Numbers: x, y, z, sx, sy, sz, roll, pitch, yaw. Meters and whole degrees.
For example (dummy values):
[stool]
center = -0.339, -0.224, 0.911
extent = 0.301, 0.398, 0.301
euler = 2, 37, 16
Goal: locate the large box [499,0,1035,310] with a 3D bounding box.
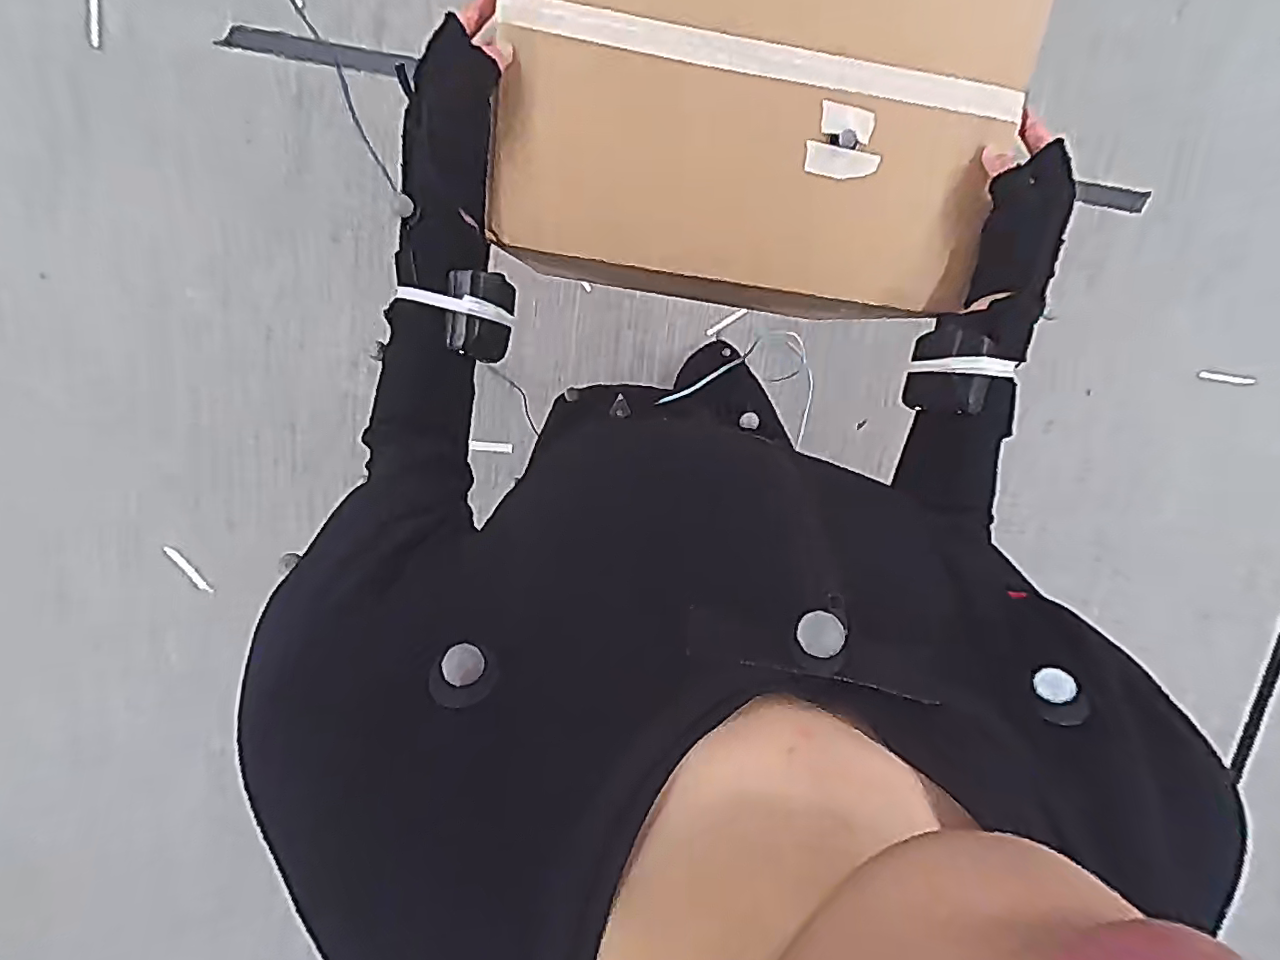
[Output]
[large box]
center = 0.088, -0.365, 0.562
extent = 0.408, 0.320, 0.320
euler = 7, 106, -6
